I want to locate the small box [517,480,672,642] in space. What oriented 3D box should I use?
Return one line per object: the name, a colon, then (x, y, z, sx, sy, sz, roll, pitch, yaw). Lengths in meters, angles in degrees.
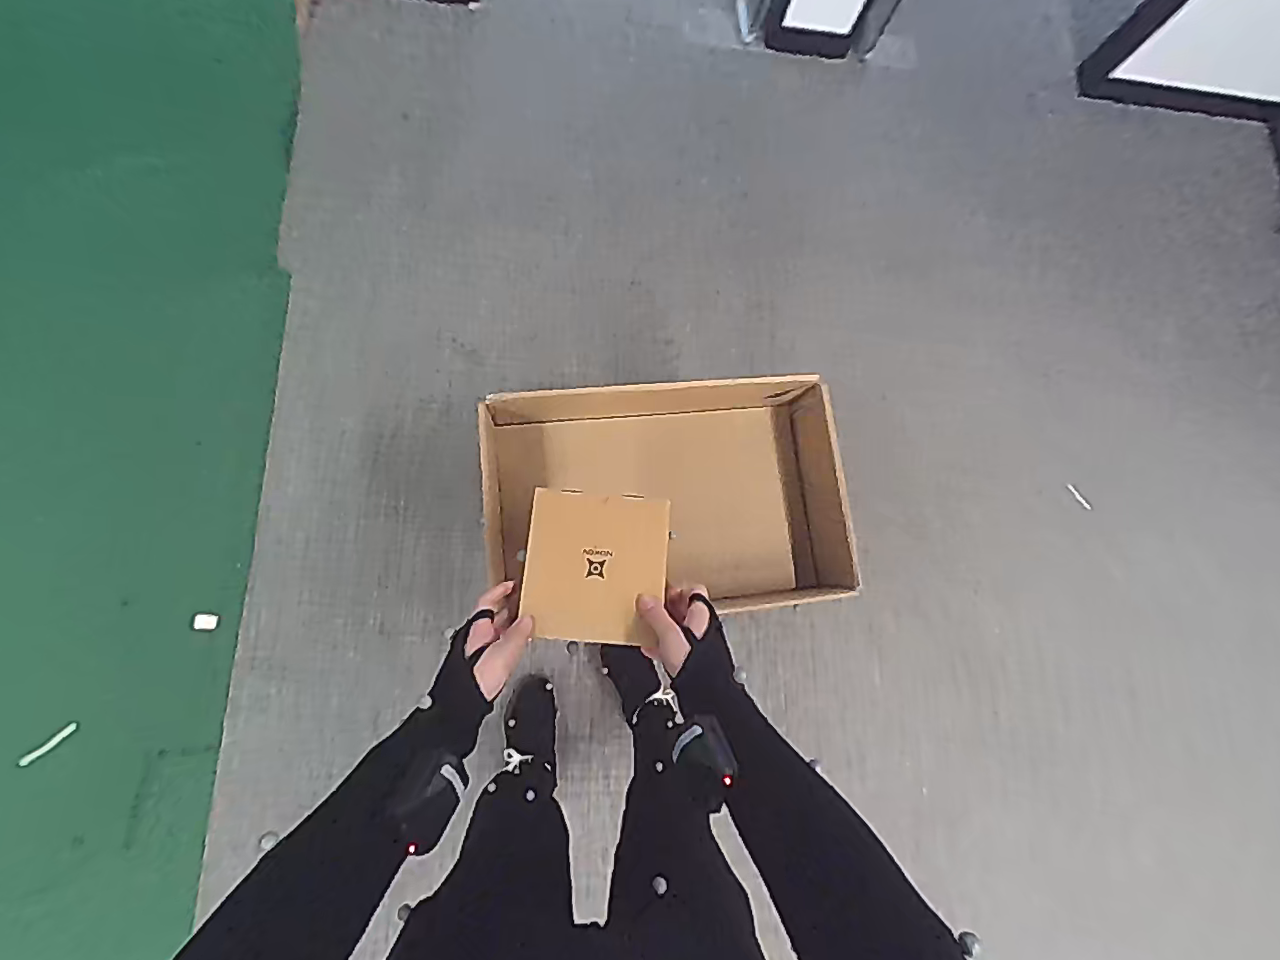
small box: (-0.051, 0.112, 0.695, 0.168, 0.176, 0.179, 5, 72, -1)
